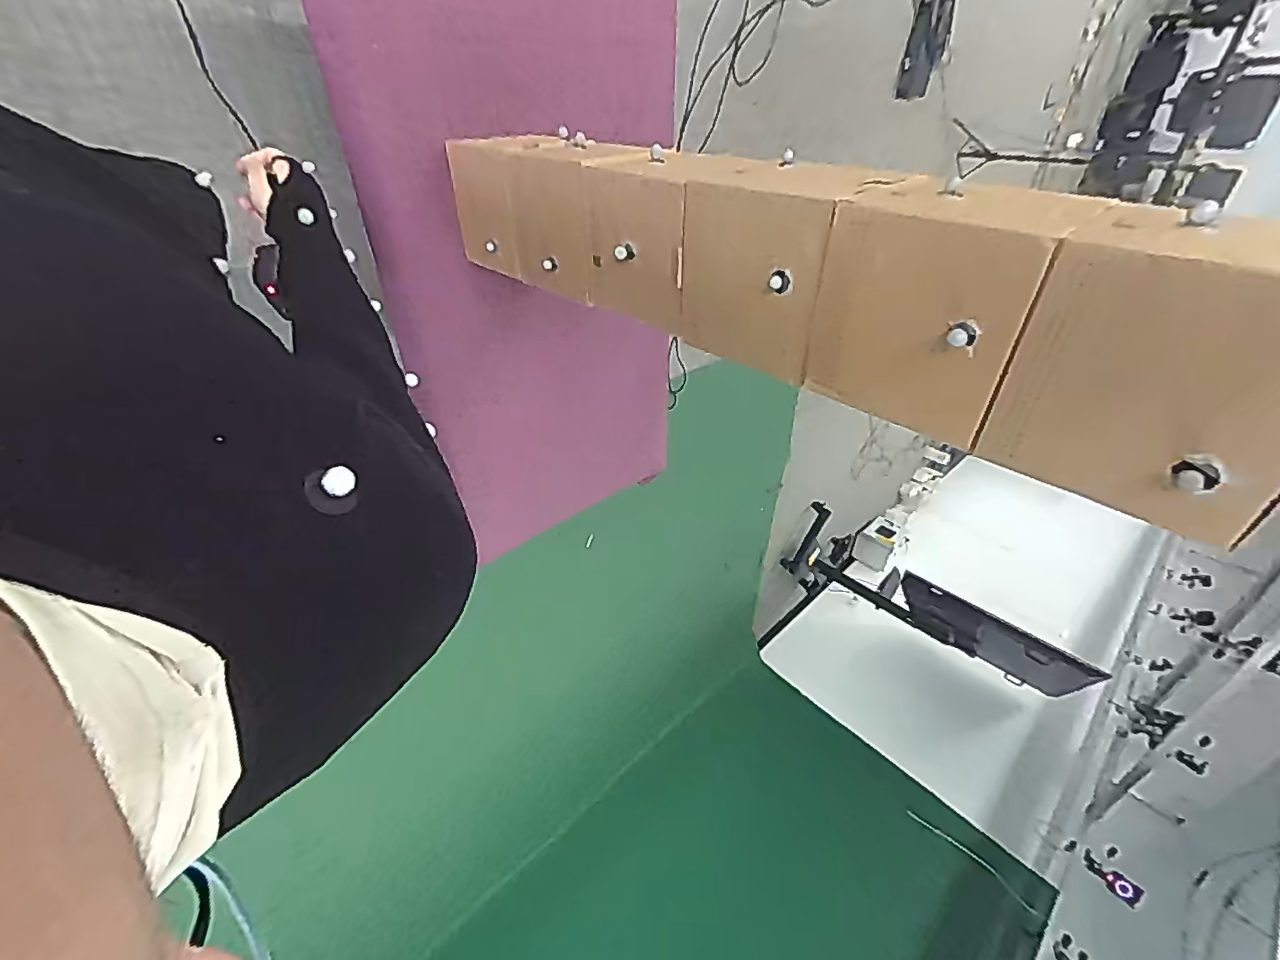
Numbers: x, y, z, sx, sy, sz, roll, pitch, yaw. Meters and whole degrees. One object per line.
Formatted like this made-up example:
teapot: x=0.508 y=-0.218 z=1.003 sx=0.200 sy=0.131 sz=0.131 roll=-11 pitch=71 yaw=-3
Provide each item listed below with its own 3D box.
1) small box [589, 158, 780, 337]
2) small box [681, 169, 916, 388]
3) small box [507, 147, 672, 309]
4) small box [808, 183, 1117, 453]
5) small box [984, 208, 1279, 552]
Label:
small box: x=0.048 y=-0.300 z=0.680 sx=0.179 sy=0.176 sz=0.168 roll=-30 pitch=136 yaw=-33
small box: x=0.159 y=-0.227 z=0.583 sx=0.168 sy=0.176 sz=0.179 roll=-31 pitch=137 yaw=-33
small box: x=-0.069 y=-0.366 z=0.772 sx=0.168 sy=0.176 sz=0.179 roll=-29 pitch=135 yaw=-34
small box: x=0.274 y=-0.157 z=0.493 sx=0.168 sy=0.176 sz=0.179 roll=-31 pitch=135 yaw=-33
small box: x=0.389 y=-0.086 z=0.399 sx=0.168 sy=0.176 sz=0.179 roll=-30 pitch=135 yaw=-34
